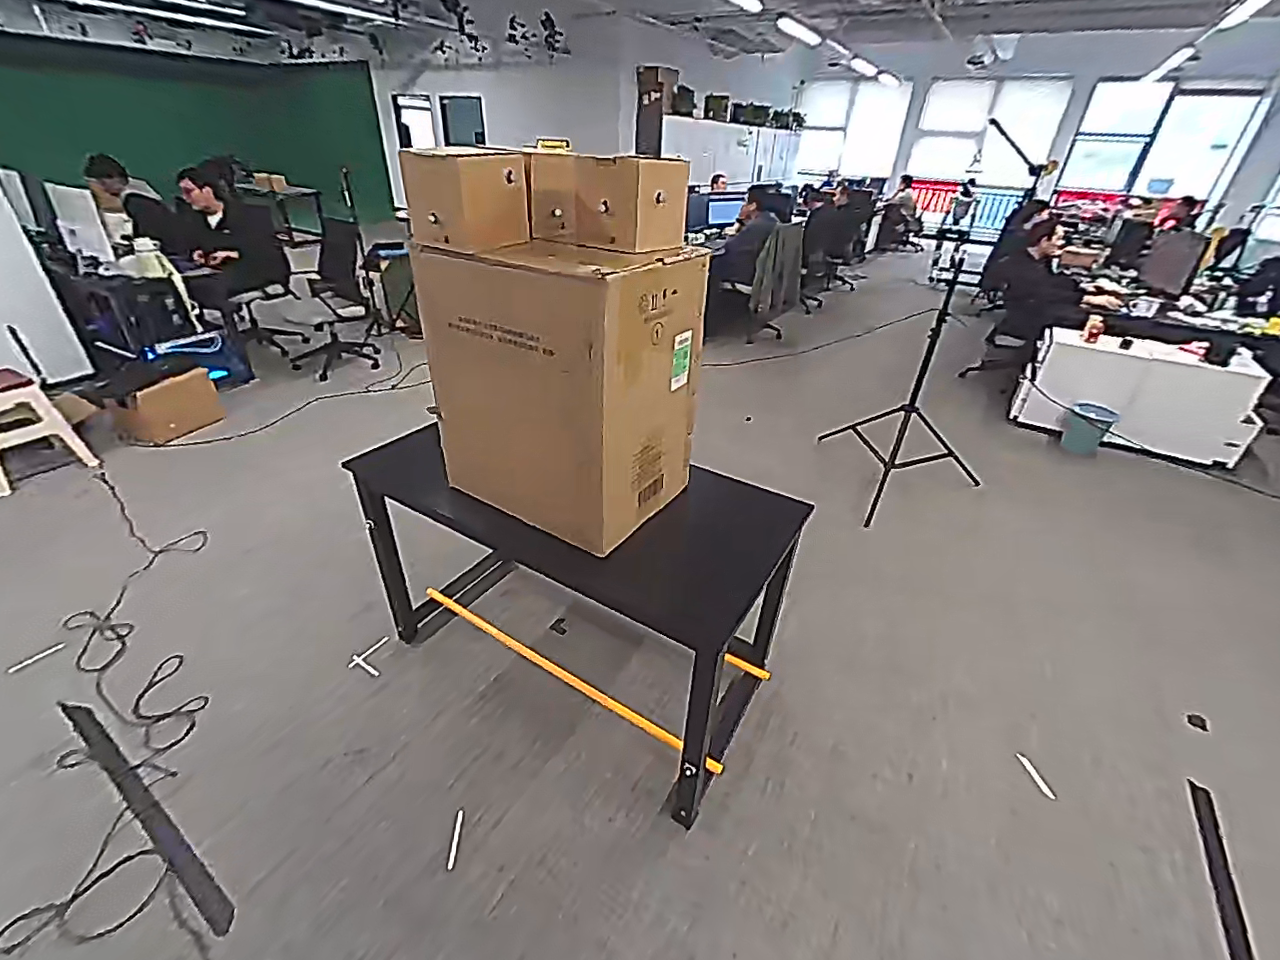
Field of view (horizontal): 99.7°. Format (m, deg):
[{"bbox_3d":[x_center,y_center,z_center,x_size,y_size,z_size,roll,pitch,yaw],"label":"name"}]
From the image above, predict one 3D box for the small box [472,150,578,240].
[{"bbox_3d":[-0.260,-0.656,1.247,0.179,0.176,0.168,22,36,26],"label":"small box"}]
